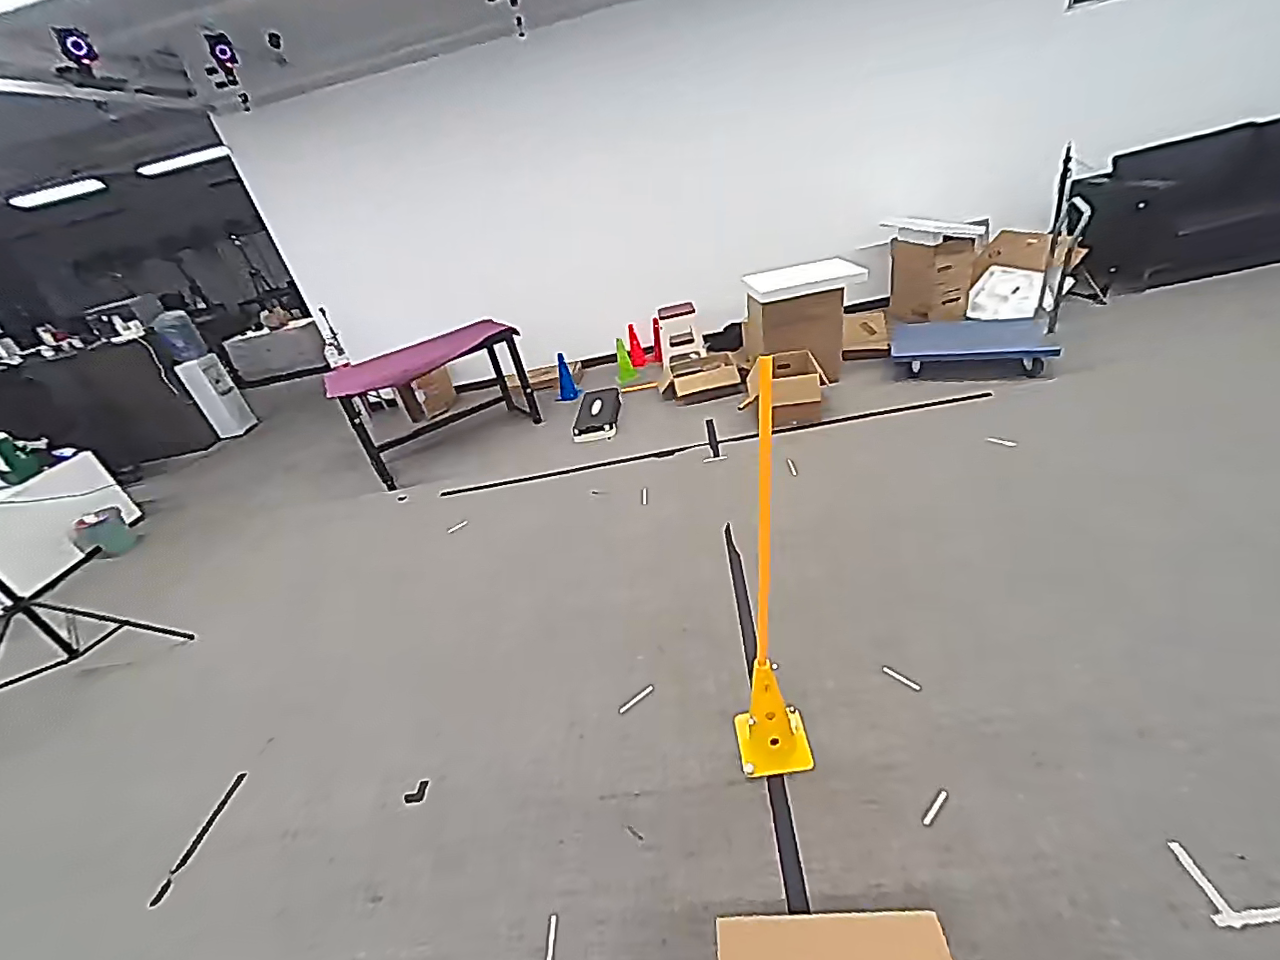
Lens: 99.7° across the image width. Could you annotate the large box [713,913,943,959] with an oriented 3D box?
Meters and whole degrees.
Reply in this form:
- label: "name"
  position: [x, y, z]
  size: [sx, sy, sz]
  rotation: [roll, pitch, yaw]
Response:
- label: "large box"
  position: [0.360, 1.029, 0.954]
  size: [0.408, 0.320, 0.320]
  rotation: [-9, 27, 7]
